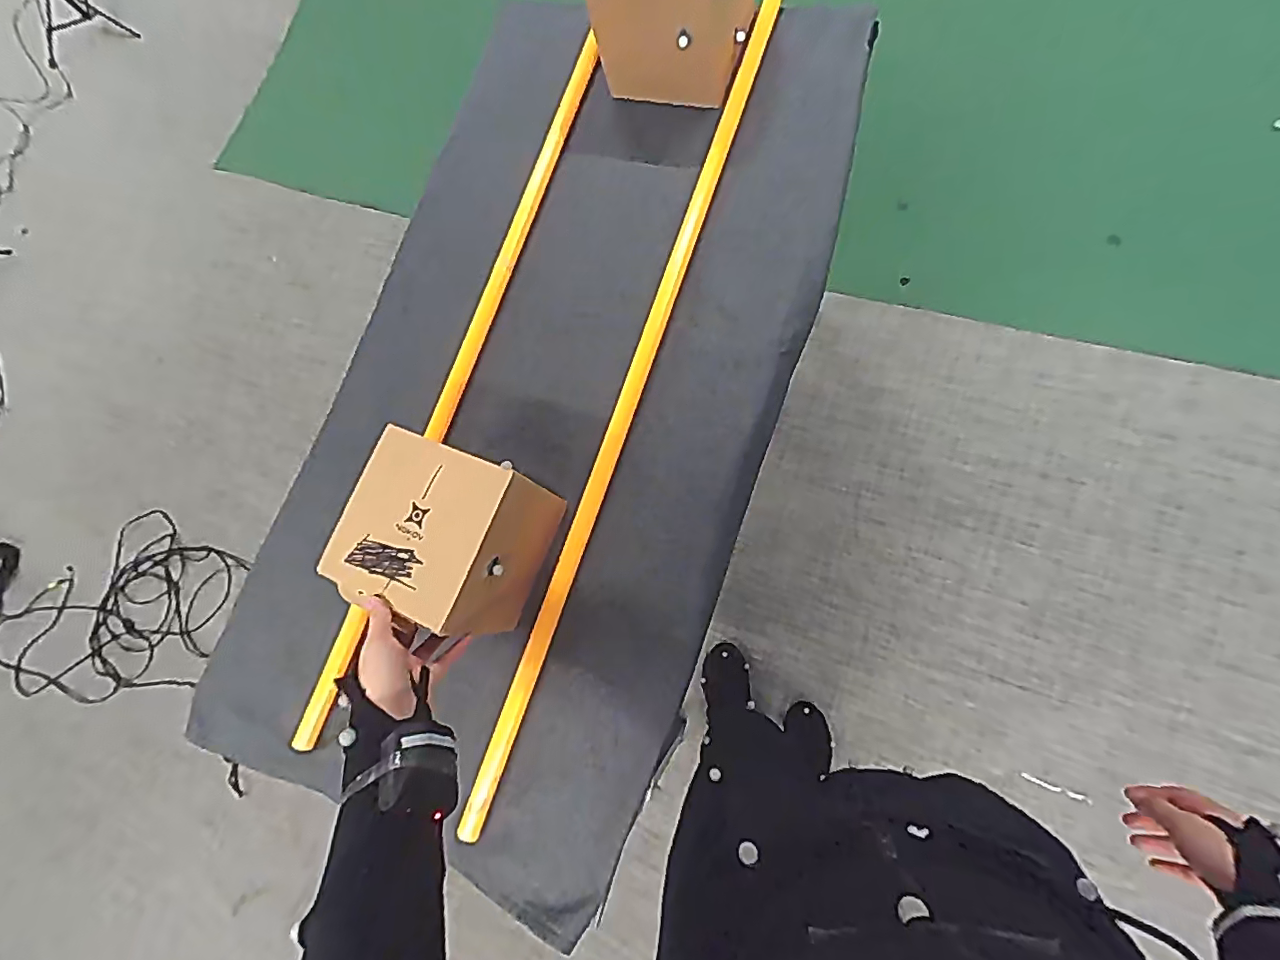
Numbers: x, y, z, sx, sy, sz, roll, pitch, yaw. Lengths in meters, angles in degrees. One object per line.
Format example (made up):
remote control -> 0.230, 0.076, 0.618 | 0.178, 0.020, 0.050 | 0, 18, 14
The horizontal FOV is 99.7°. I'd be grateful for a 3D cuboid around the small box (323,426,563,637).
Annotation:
small box -> -0.210, 0.065, 0.628 | 0.168, 0.176, 0.179 | 20, 81, 16
